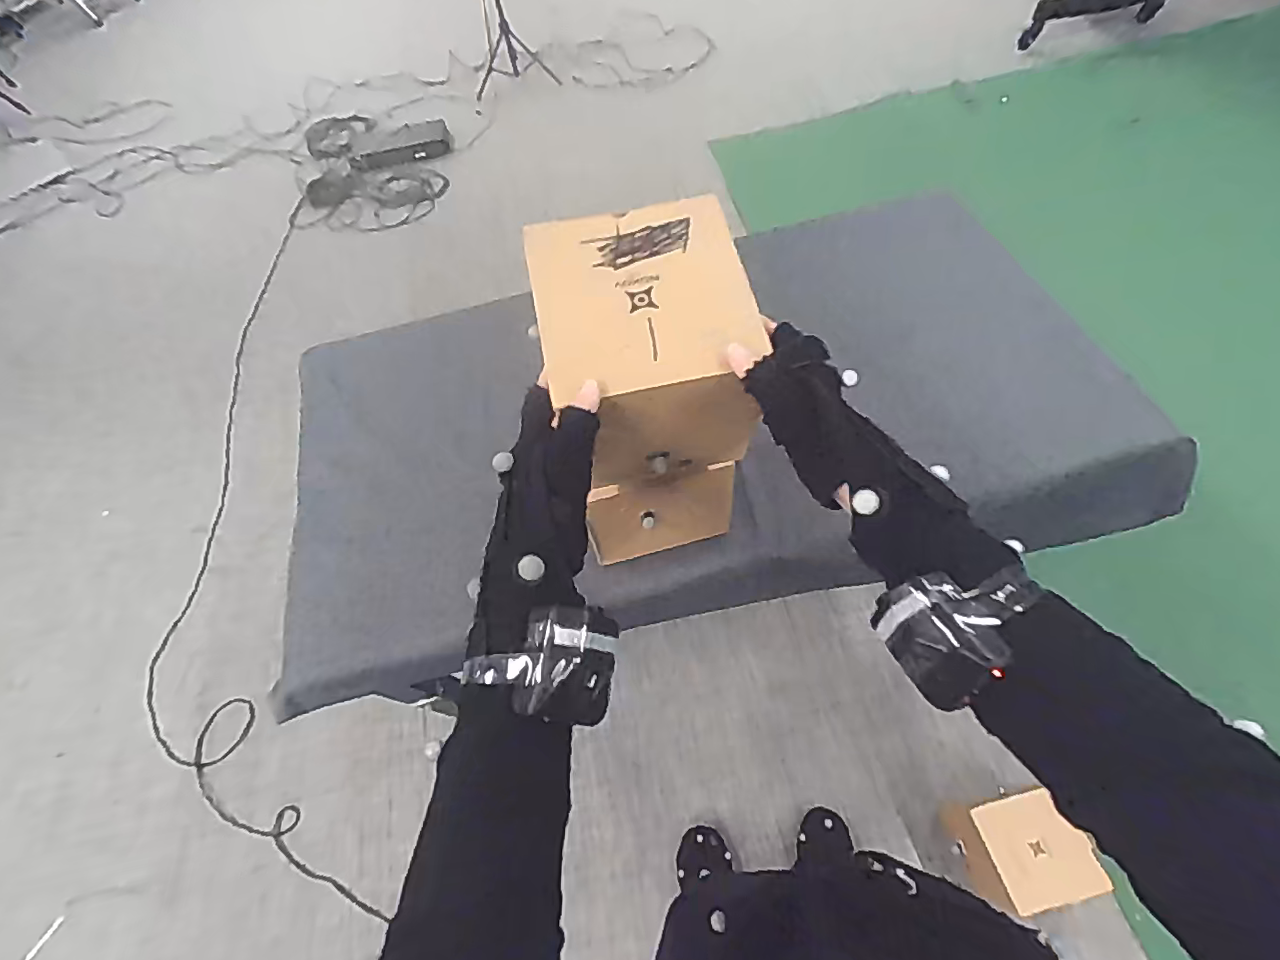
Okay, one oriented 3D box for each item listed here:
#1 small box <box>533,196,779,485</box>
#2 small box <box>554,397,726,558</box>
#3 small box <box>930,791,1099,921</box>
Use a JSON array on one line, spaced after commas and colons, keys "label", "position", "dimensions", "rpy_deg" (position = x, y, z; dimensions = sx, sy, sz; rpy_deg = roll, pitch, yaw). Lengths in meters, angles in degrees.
[{"label": "small box", "position": [0.007, -0.114, 0.486], "dimensions": [0.168, 0.176, 0.179], "rpy_deg": [-10, 69, -3]}, {"label": "small box", "position": [0.005, -0.019, 0.685], "dimensions": [0.179, 0.176, 0.168], "rpy_deg": [-14, 58, -2]}, {"label": "small box", "position": [0.701, 0.709, 1.038], "dimensions": [0.179, 0.176, 0.168], "rpy_deg": [-15, 58, -1]}]
